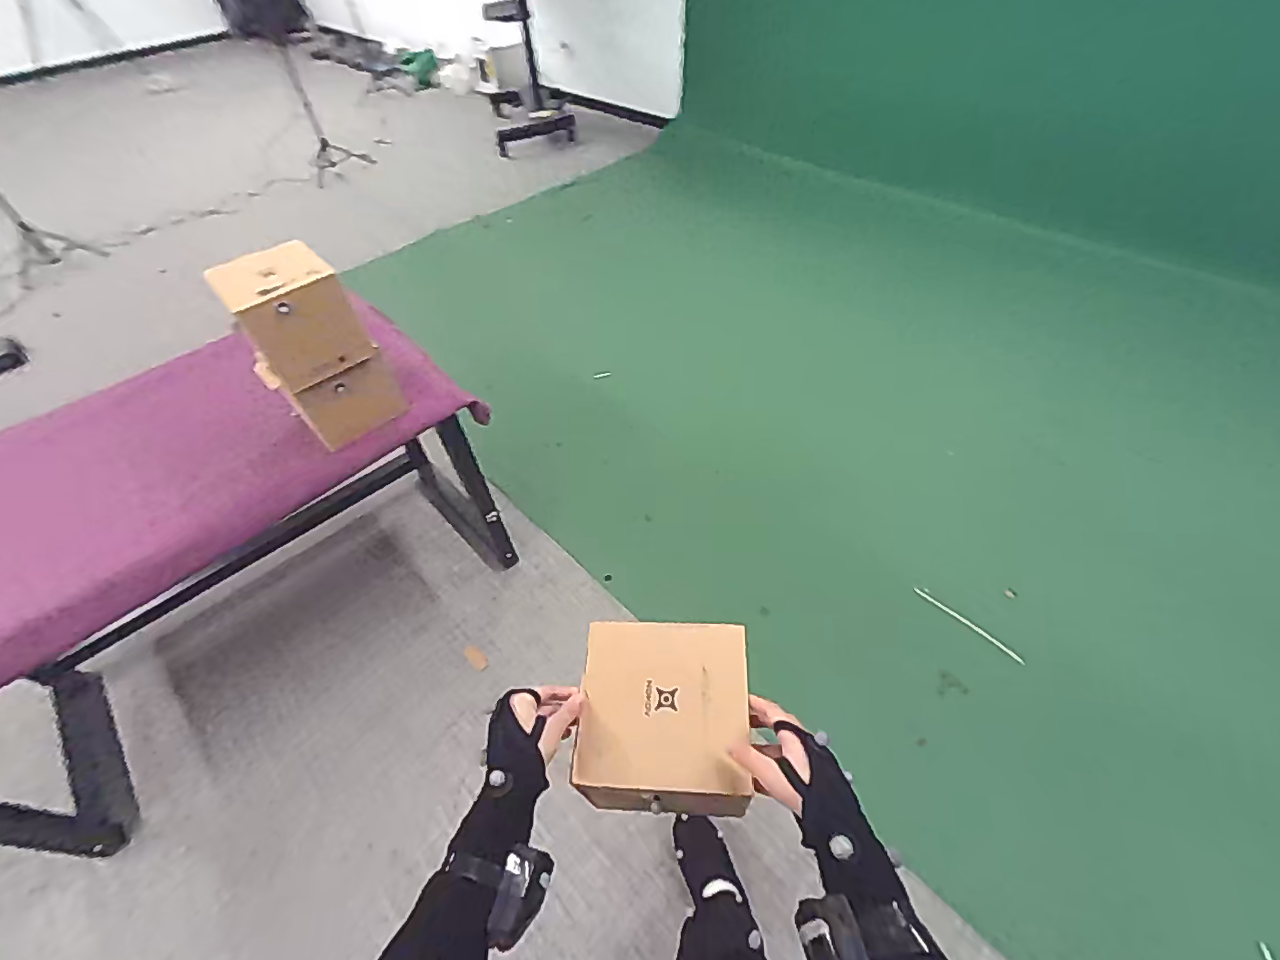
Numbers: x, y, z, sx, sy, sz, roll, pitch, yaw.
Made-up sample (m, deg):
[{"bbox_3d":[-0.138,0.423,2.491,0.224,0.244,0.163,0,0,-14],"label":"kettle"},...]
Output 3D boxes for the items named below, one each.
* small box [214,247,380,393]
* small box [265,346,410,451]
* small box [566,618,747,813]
[{"bbox_3d":[-0.605,-0.285,0.969,0.168,0.176,0.179,-37,56,-23],"label":"small box"},{"bbox_3d":[-0.608,-0.190,1.104,0.179,0.176,0.168,-38,58,-25],"label":"small box"},{"bbox_3d":[0.028,0.272,0.619,0.179,0.176,0.168,0,51,7],"label":"small box"}]
